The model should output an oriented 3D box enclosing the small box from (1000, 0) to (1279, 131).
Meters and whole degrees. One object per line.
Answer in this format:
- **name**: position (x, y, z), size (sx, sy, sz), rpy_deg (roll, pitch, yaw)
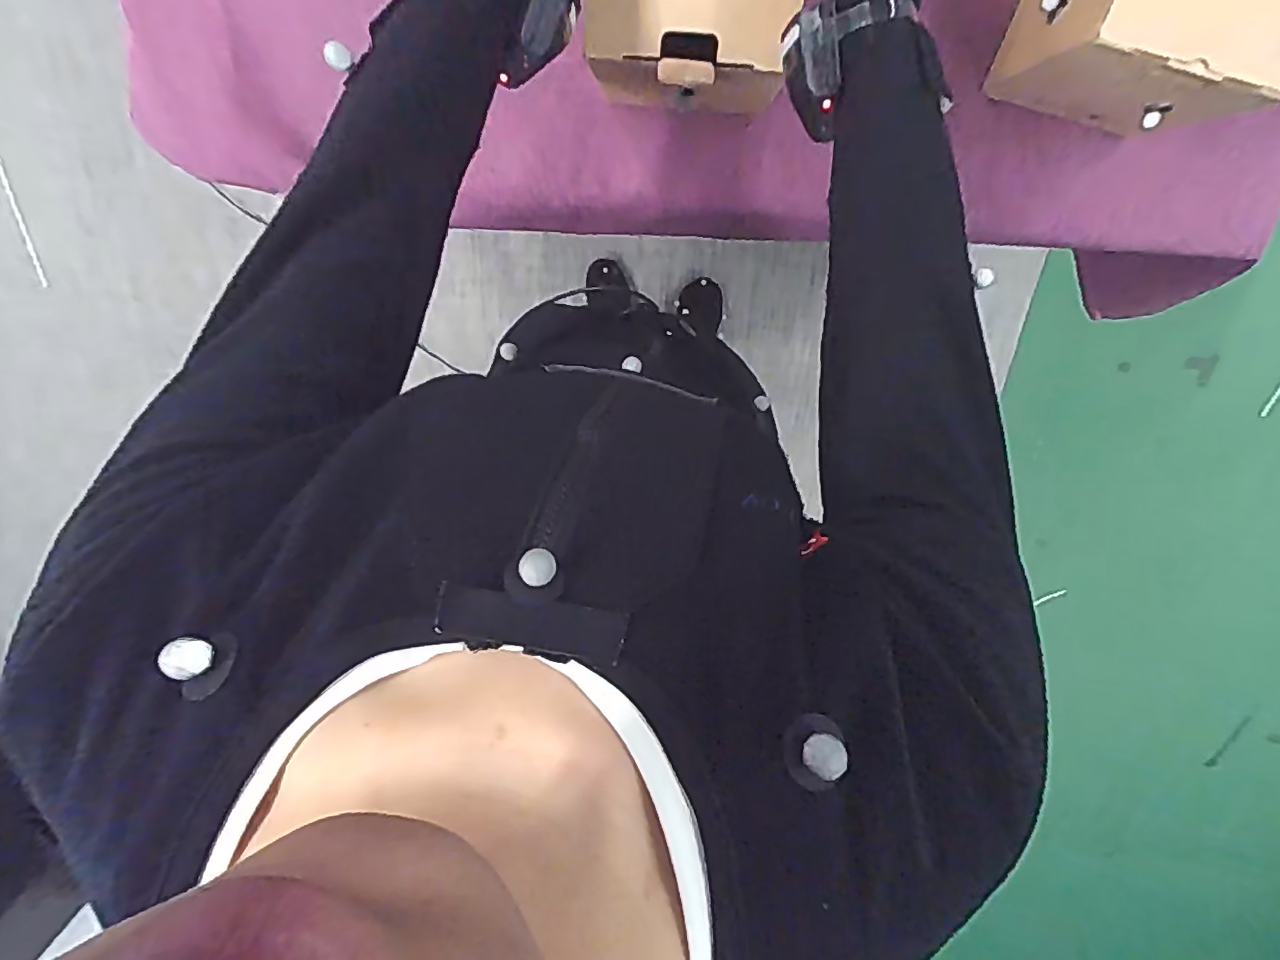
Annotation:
- **small box**: position (0.436, -0.408, 0.435), size (0.168, 0.176, 0.179), rpy_deg (15, 114, -2)
